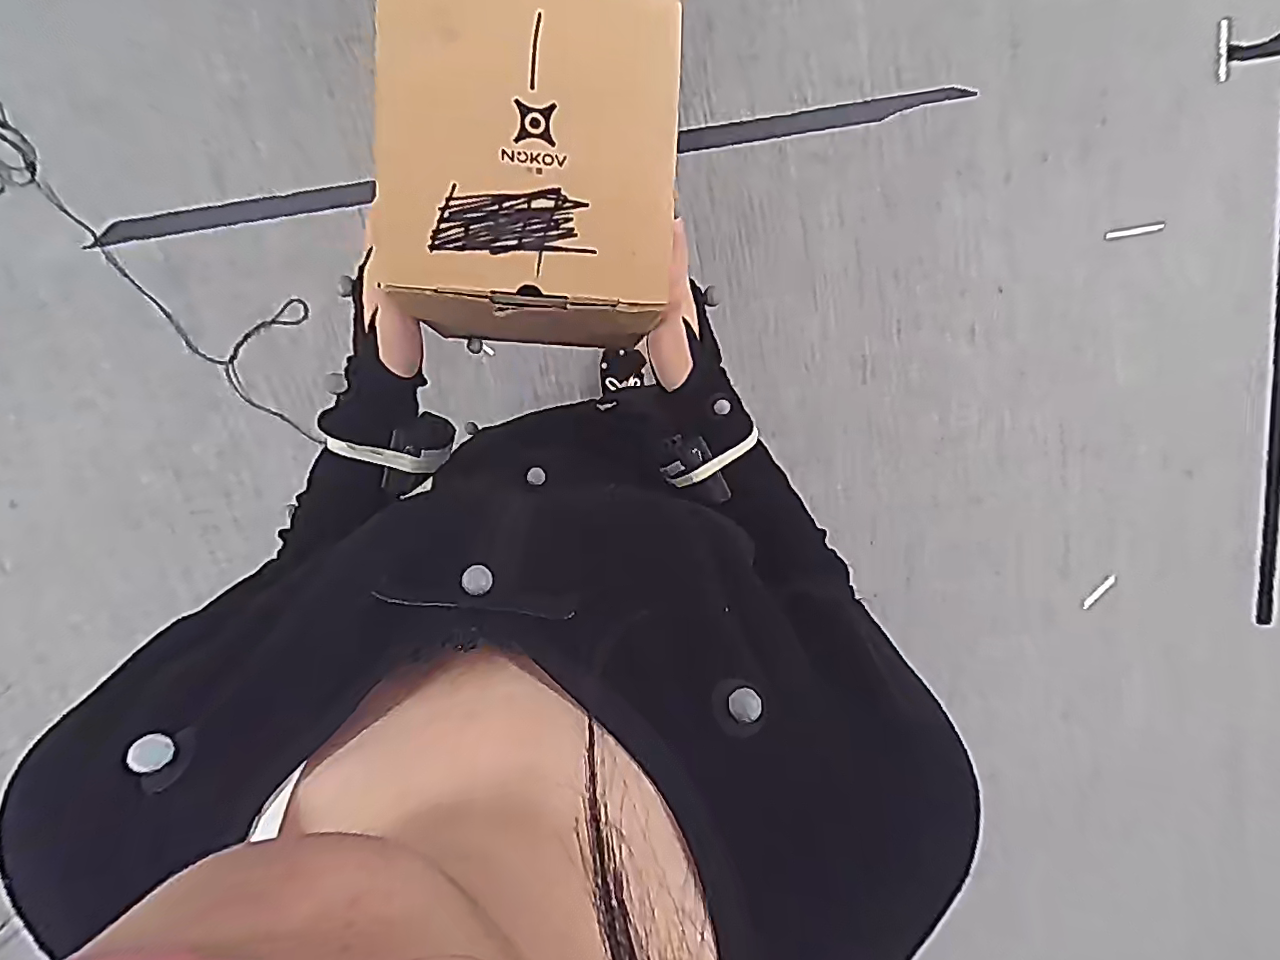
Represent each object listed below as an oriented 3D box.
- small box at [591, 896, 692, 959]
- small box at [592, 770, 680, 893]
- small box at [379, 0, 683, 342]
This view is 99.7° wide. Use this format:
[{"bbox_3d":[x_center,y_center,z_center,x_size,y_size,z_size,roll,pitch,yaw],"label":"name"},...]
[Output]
[{"bbox_3d":[0.007,0.879,0.948,0.179,0.176,0.168,-7,101,-1],"label":"small box"},{"bbox_3d":[-0.011,0.815,1.270,0.179,0.176,0.168,-11,100,0],"label":"small box"},{"bbox_3d":[-0.071,-0.200,0.384,0.168,0.176,0.179,2,94,-9],"label":"small box"}]
